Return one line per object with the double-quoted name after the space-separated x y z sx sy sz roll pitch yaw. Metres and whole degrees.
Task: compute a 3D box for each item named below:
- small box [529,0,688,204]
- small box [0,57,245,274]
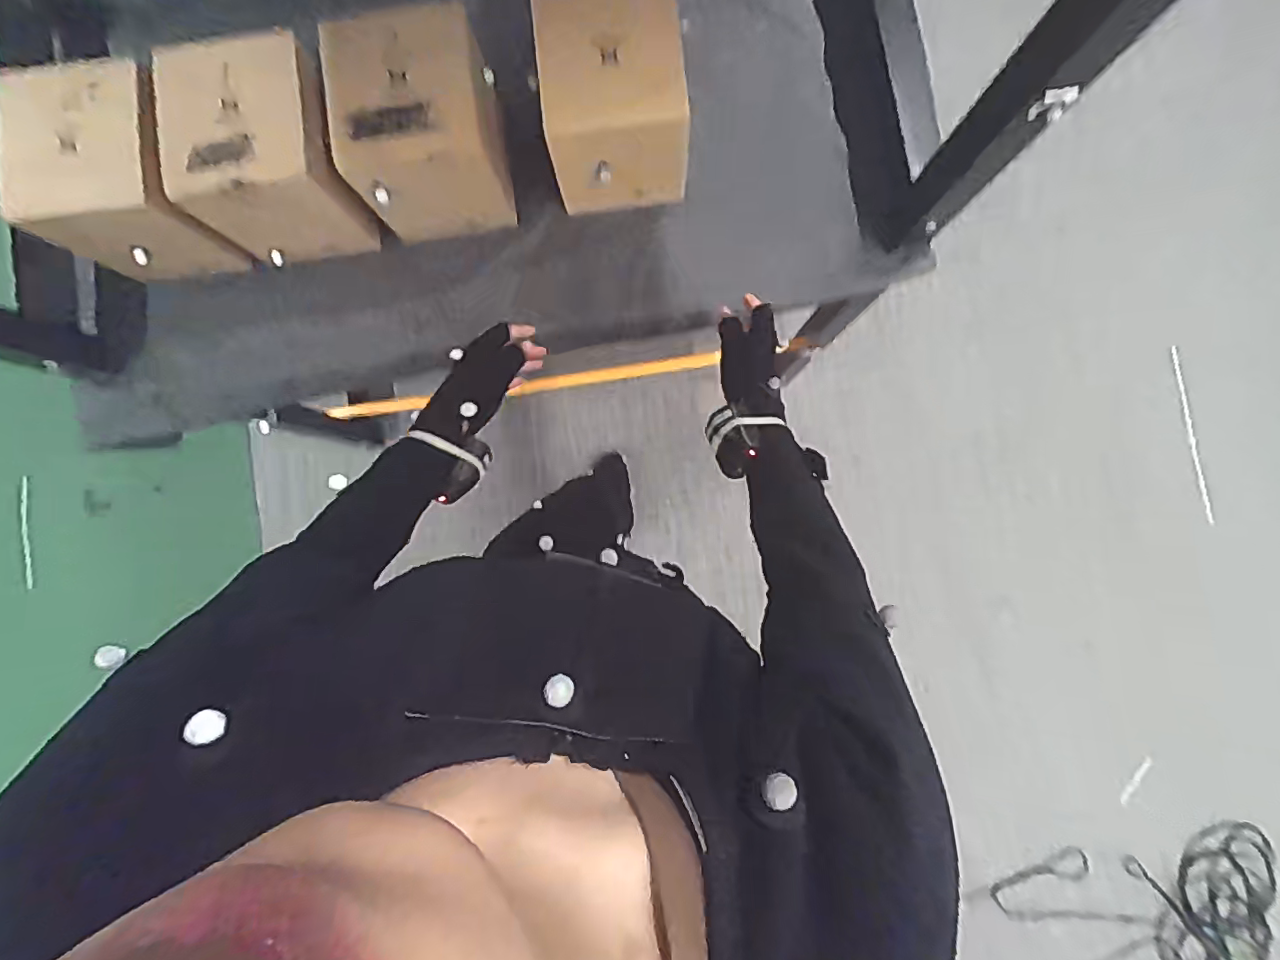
-0.033 -0.468 0.672 0.168 0.176 0.179 -6 86 1 "small box"
-0.637 -0.375 0.681 0.168 0.176 0.179 -6 86 0 "small box"
